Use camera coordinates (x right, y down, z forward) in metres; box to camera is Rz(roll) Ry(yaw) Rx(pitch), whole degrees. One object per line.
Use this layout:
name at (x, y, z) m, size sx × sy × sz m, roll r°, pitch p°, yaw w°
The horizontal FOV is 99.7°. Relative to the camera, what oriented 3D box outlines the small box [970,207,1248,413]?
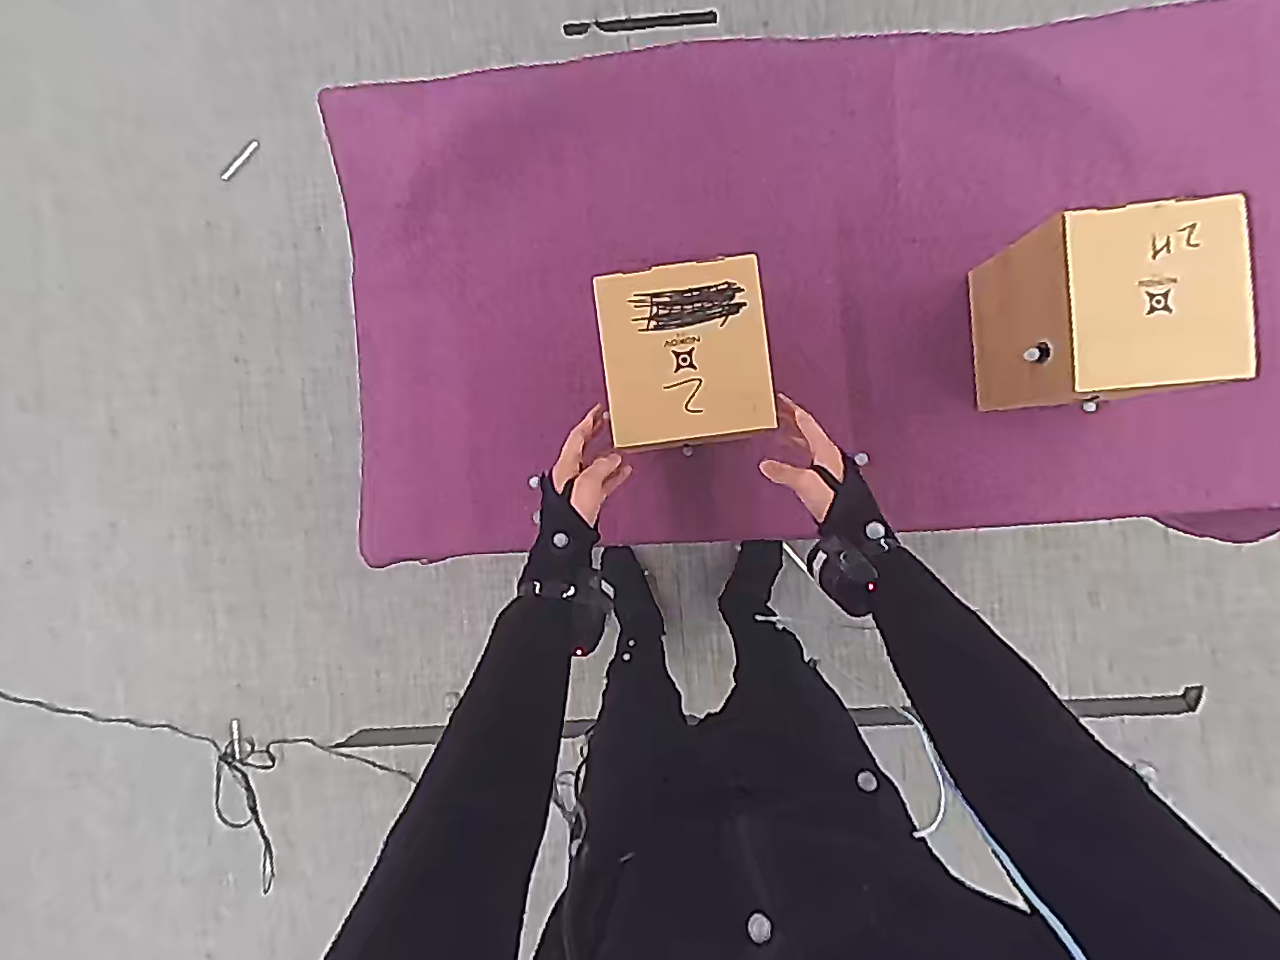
small box at (0.495, -0.169, 0.596) m, size 0.168 × 0.176 × 0.179 m, roll -4°, pitch 91°, yaw 3°
